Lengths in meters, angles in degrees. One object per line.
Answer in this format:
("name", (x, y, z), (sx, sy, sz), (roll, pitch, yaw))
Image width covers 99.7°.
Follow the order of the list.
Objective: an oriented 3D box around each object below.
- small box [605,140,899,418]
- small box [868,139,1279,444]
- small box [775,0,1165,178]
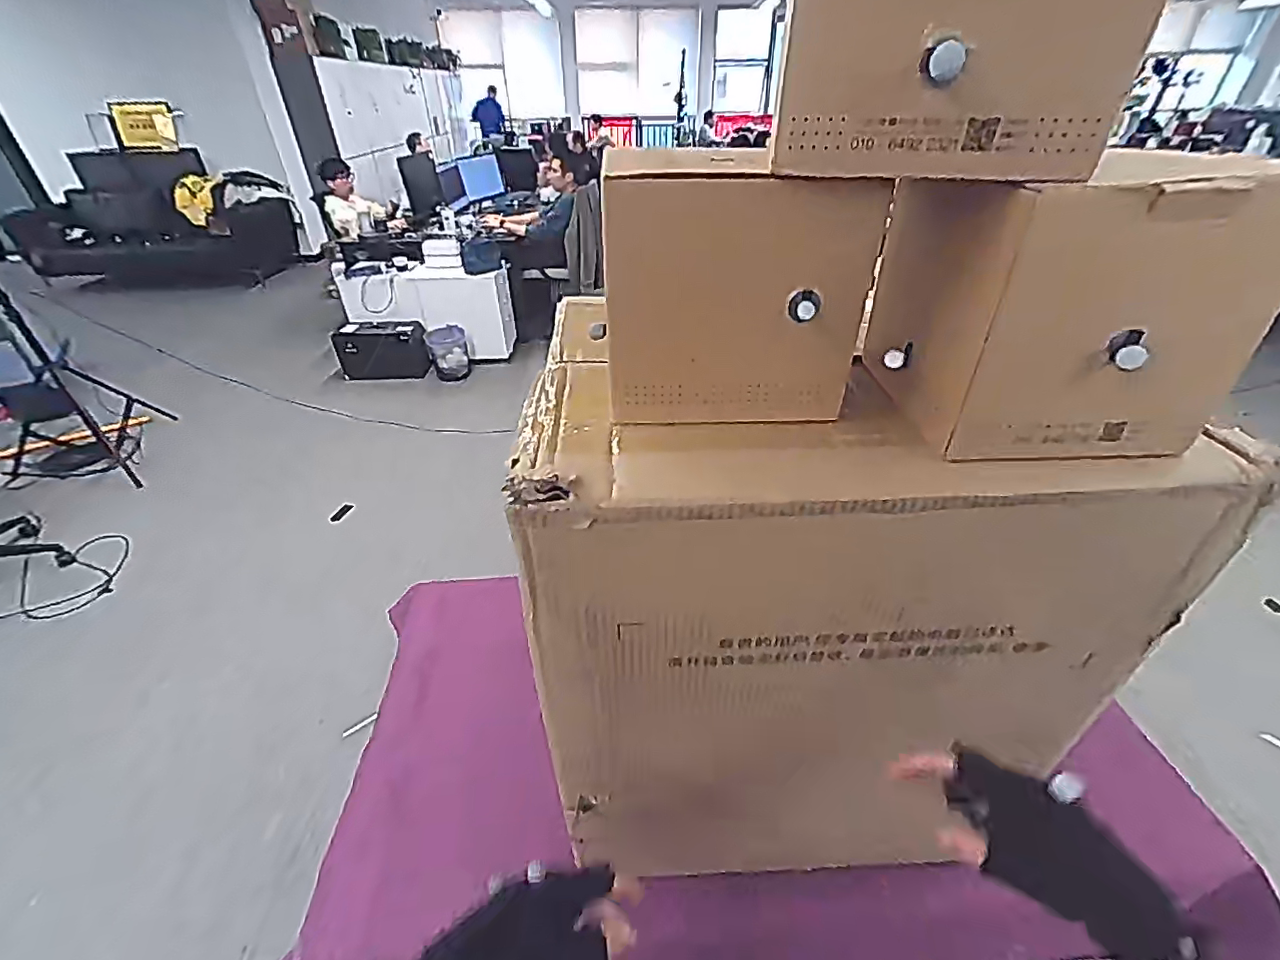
("small box", (0.064, -0.159, 0.423), (0.179, 0.176, 0.168), (-2, 35, -2))
("small box", (0.285, -0.135, 0.387), (0.168, 0.176, 0.179), (-2, 35, 1))
("small box", (0.172, -0.282, 0.312), (0.168, 0.176, 0.179), (6, 36, 9))
